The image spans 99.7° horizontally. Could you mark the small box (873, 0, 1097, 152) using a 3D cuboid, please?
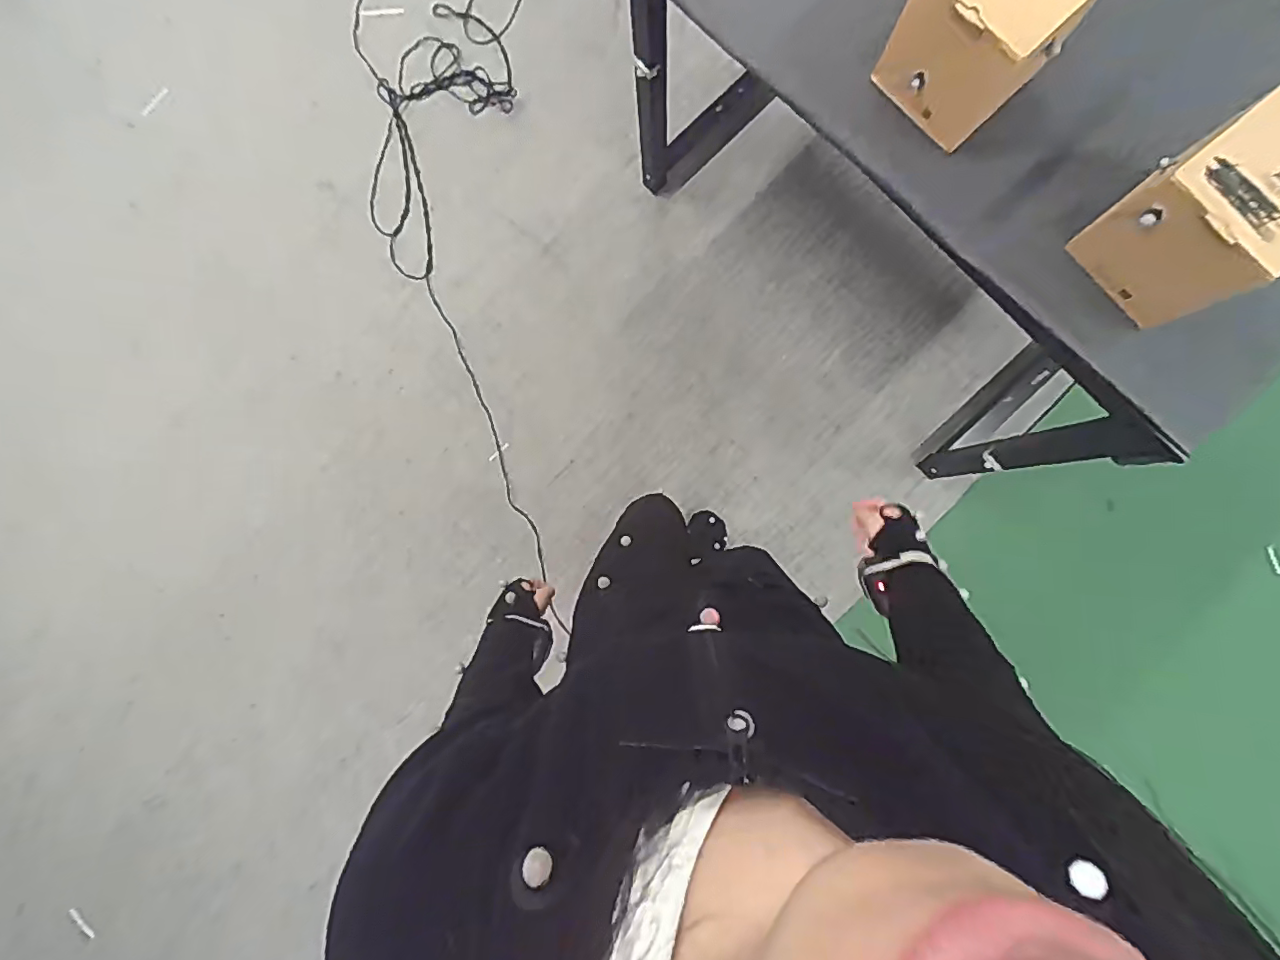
[{"bbox_3d":[0.454,-0.600,0.725,0.179,0.176,0.168,-43,87,-1],"label":"small box"}]
